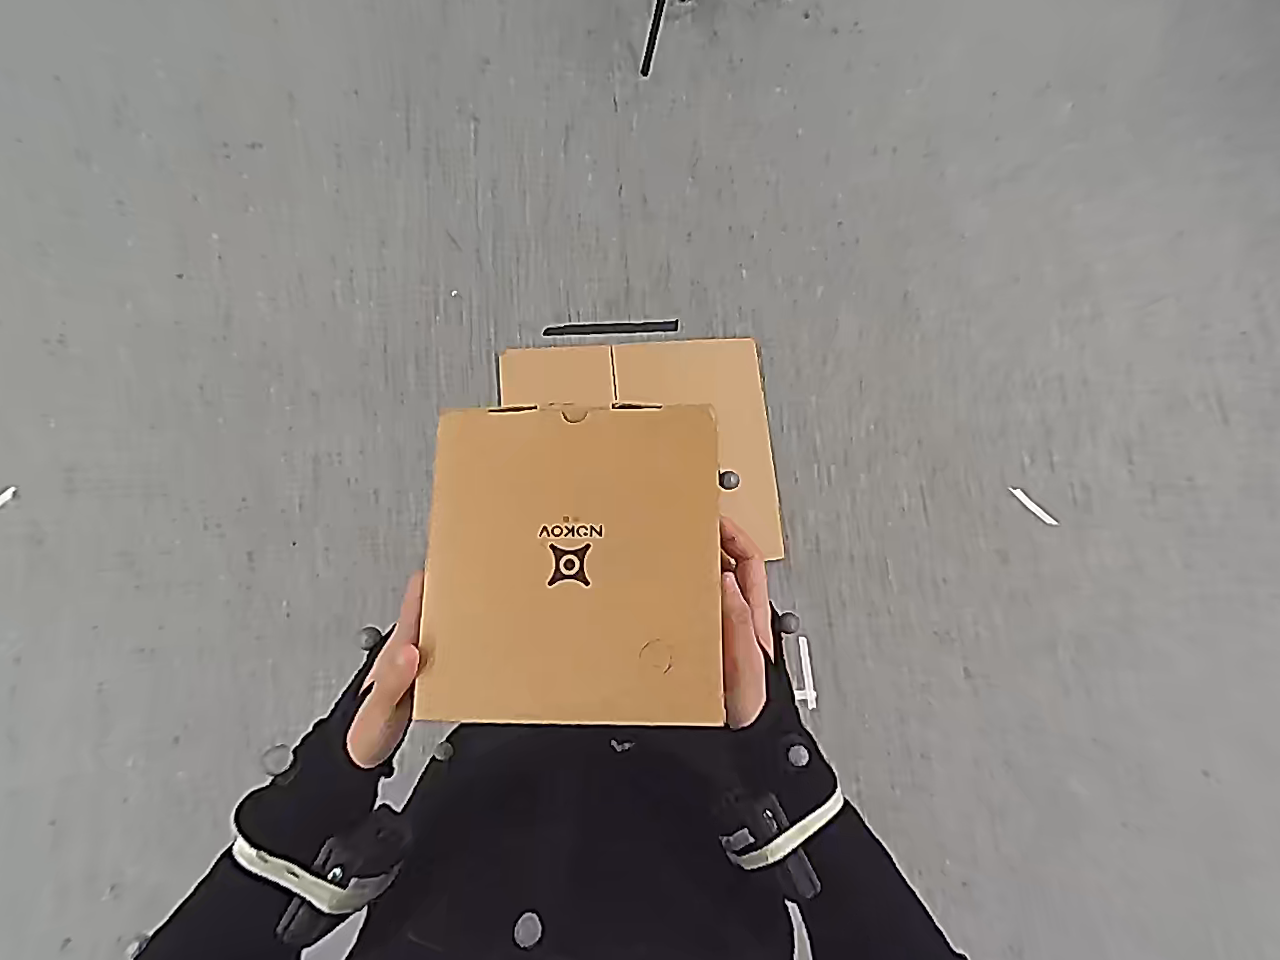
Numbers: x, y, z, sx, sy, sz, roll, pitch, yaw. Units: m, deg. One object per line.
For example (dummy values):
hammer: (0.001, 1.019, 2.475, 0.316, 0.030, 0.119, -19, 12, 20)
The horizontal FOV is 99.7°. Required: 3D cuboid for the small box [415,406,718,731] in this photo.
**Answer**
small box: (-0.033, 0.060, 0.375, 0.168, 0.176, 0.179, -1, 77, 4)
